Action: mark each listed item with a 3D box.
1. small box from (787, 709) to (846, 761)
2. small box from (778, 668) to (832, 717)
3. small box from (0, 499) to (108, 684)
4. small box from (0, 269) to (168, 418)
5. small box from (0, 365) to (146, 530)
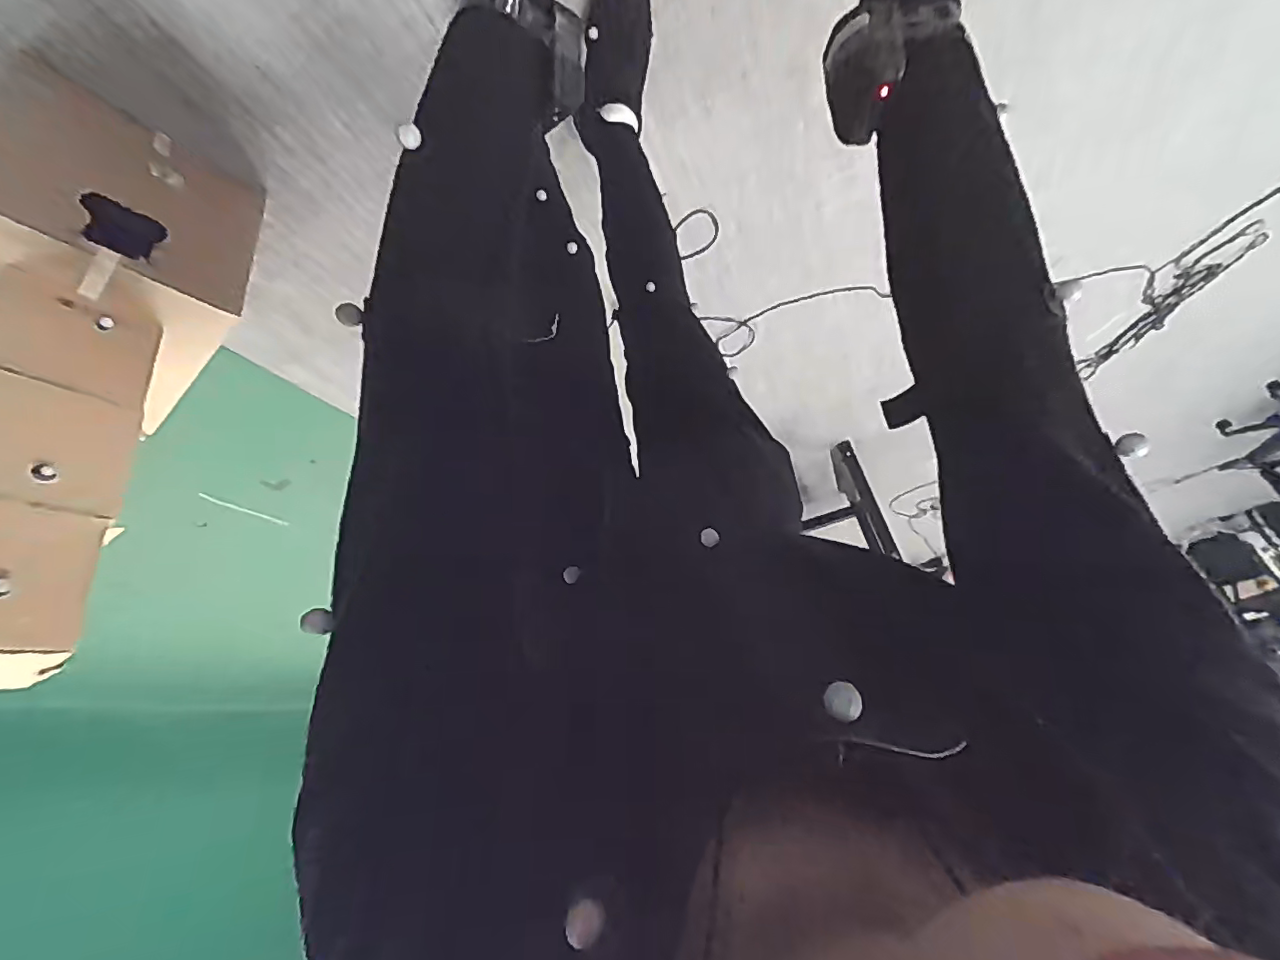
[{"bbox_3d":[0.728,1.051,2.235,0.179,0.176,0.168,-21,149,17],"label":"small box"},{"bbox_3d":[0.705,0.913,2.316,0.168,0.176,0.179,-20,149,15],"label":"small box"},{"bbox_3d":[-0.749,0.124,0.604,0.168,0.176,0.179,-27,150,25],"label":"small box"},{"bbox_3d":[-0.813,-0.154,0.766,0.179,0.176,0.168,-28,149,25],"label":"small box"},{"bbox_3d":[-0.776,-0.019,0.682,0.168,0.176,0.179,-26,149,24],"label":"small box"}]
